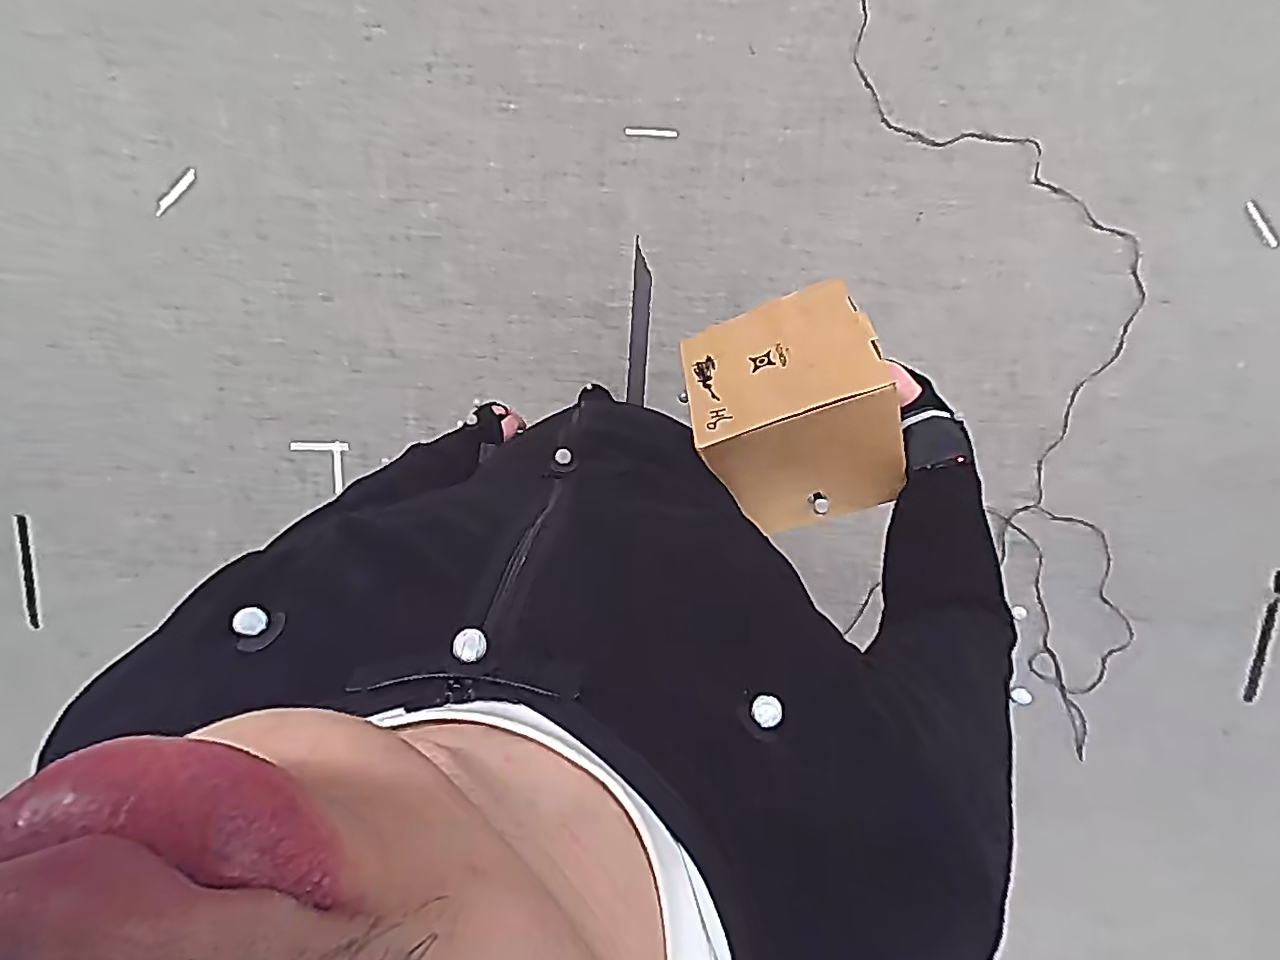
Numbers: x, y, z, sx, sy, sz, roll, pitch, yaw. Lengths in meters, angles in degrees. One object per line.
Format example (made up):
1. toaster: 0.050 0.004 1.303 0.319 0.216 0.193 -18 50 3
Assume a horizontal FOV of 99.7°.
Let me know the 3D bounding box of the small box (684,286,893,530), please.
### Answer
1. small box: 0.163 -0.071 0.592 0.179 0.168 0.176 -18 137 16
